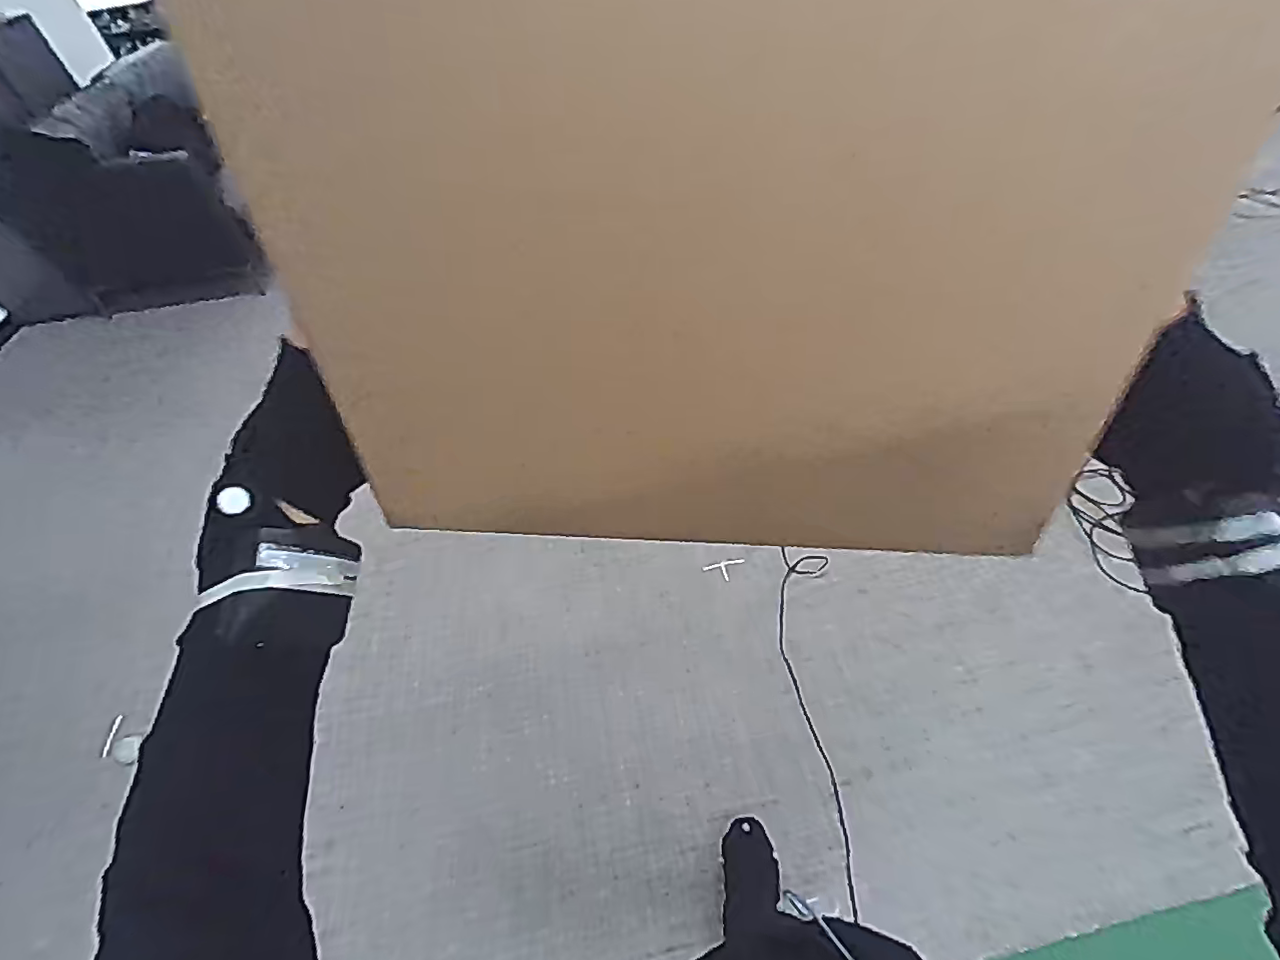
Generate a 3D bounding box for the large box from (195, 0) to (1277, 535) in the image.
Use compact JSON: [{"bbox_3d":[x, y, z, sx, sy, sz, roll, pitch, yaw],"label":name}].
[{"bbox_3d":[0.039,-0.176,0.379,0.408,0.320,0.320,2,39,6],"label":"large box"}]
